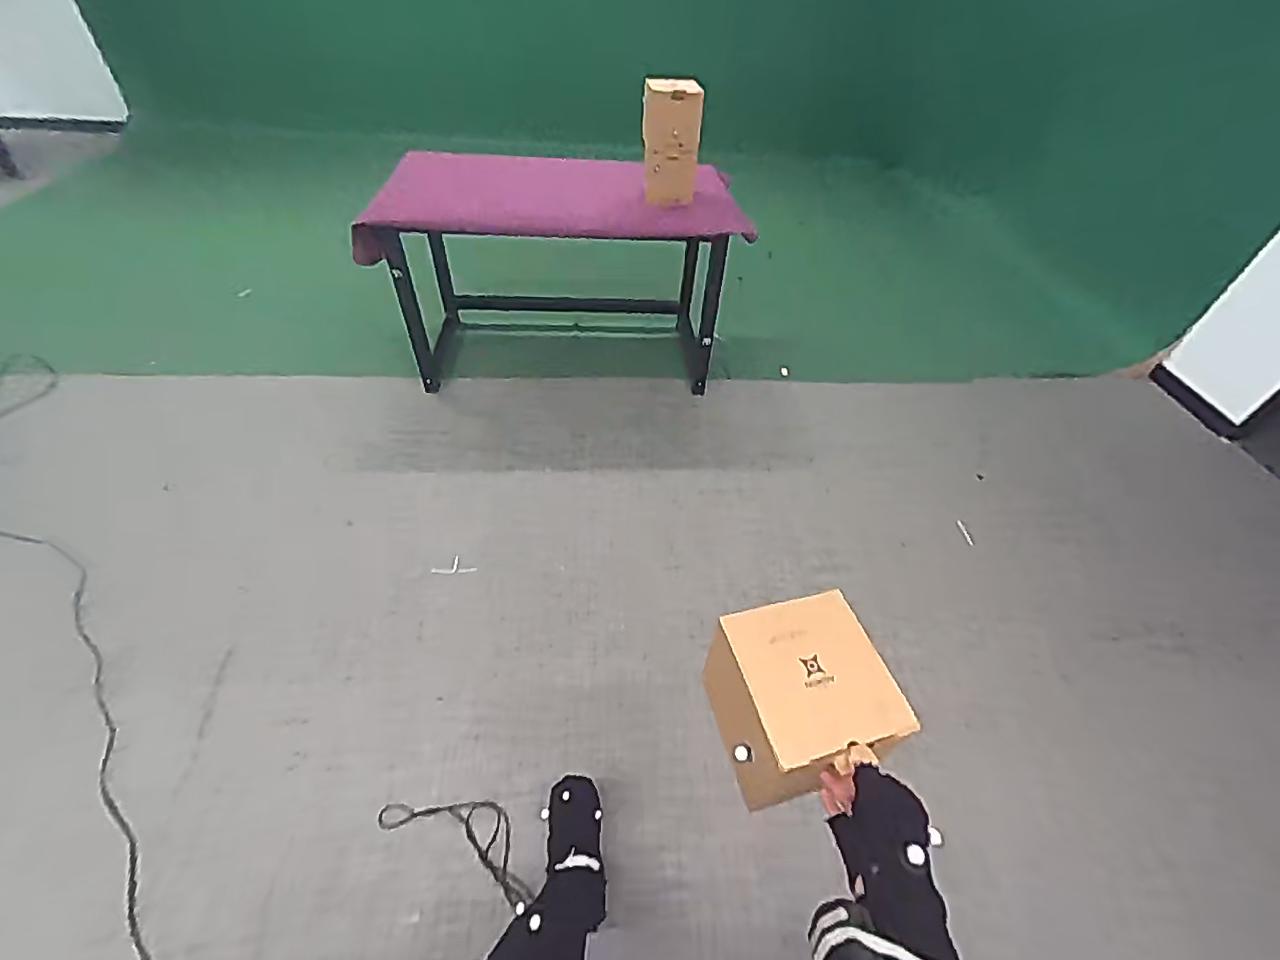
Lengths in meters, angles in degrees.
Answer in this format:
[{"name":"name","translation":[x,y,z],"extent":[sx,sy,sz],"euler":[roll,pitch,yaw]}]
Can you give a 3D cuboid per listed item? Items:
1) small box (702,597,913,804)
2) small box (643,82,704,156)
[{"name":"small box","translation":[0.187,0.274,0.666],"extent":[0.168,0.176,0.179],"euler":[-8,47,-13]},{"name":"small box","translation":[0.104,-1.188,1.778],"extent":[0.168,0.176,0.179],"euler":[-3,46,-6]}]
